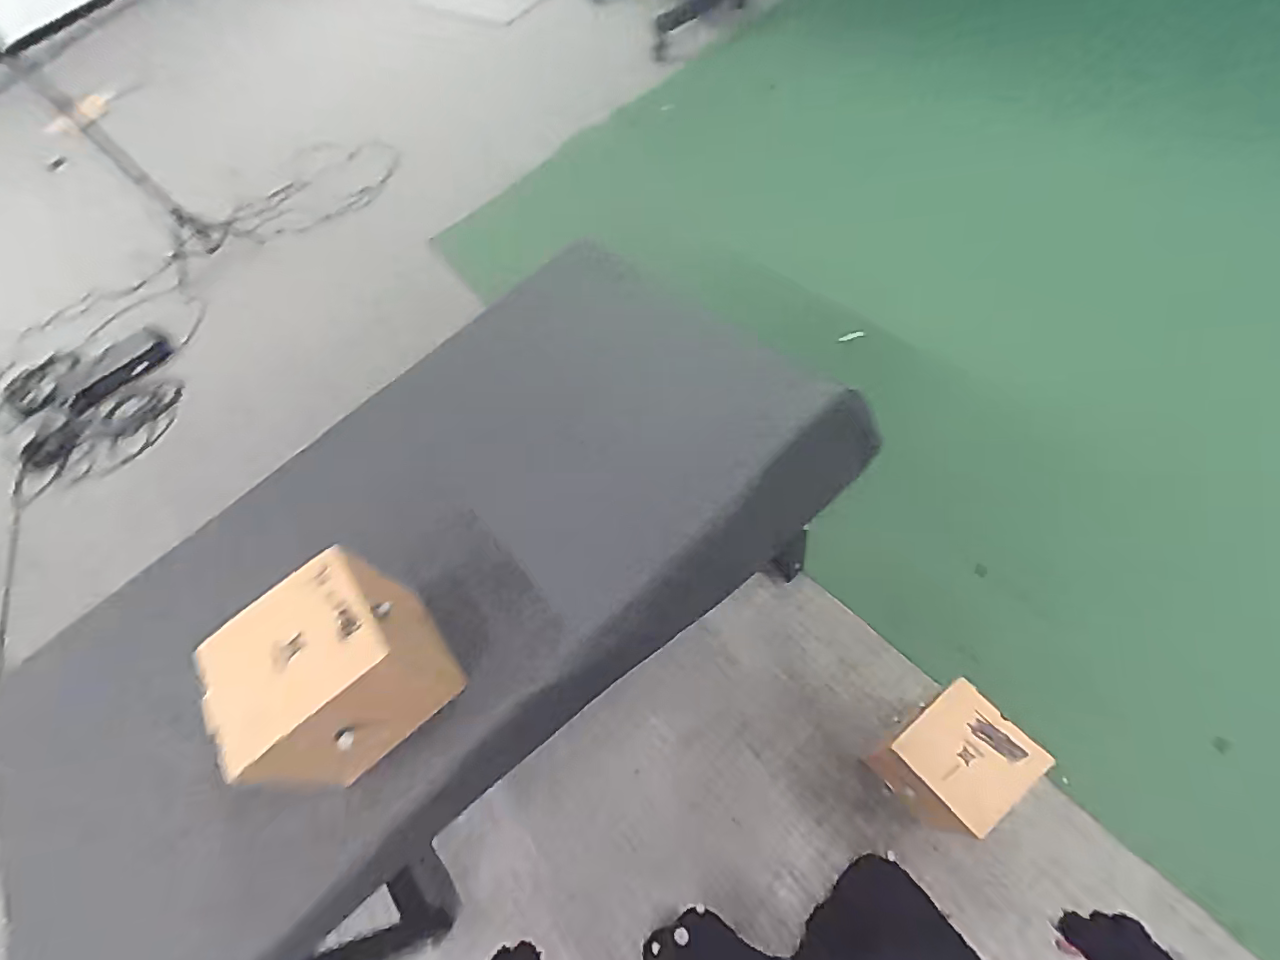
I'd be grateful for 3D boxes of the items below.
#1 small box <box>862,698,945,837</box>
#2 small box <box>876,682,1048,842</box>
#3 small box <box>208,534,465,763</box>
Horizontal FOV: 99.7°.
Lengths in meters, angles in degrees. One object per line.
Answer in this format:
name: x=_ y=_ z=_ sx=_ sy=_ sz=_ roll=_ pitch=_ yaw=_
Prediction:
small box: x=0.564 y=0.564 z=1.070 sx=0.179 sy=0.176 sz=0.168 roll=-39 pitch=59 yaw=-9
small box: x=0.535 y=0.481 z=0.930 sx=0.179 sy=0.176 sz=0.168 roll=-37 pitch=58 yaw=-8
small box: x=-0.341 y=0.202 z=0.629 sx=0.179 sy=0.176 sz=0.168 roll=-38 pitch=59 yaw=-9
